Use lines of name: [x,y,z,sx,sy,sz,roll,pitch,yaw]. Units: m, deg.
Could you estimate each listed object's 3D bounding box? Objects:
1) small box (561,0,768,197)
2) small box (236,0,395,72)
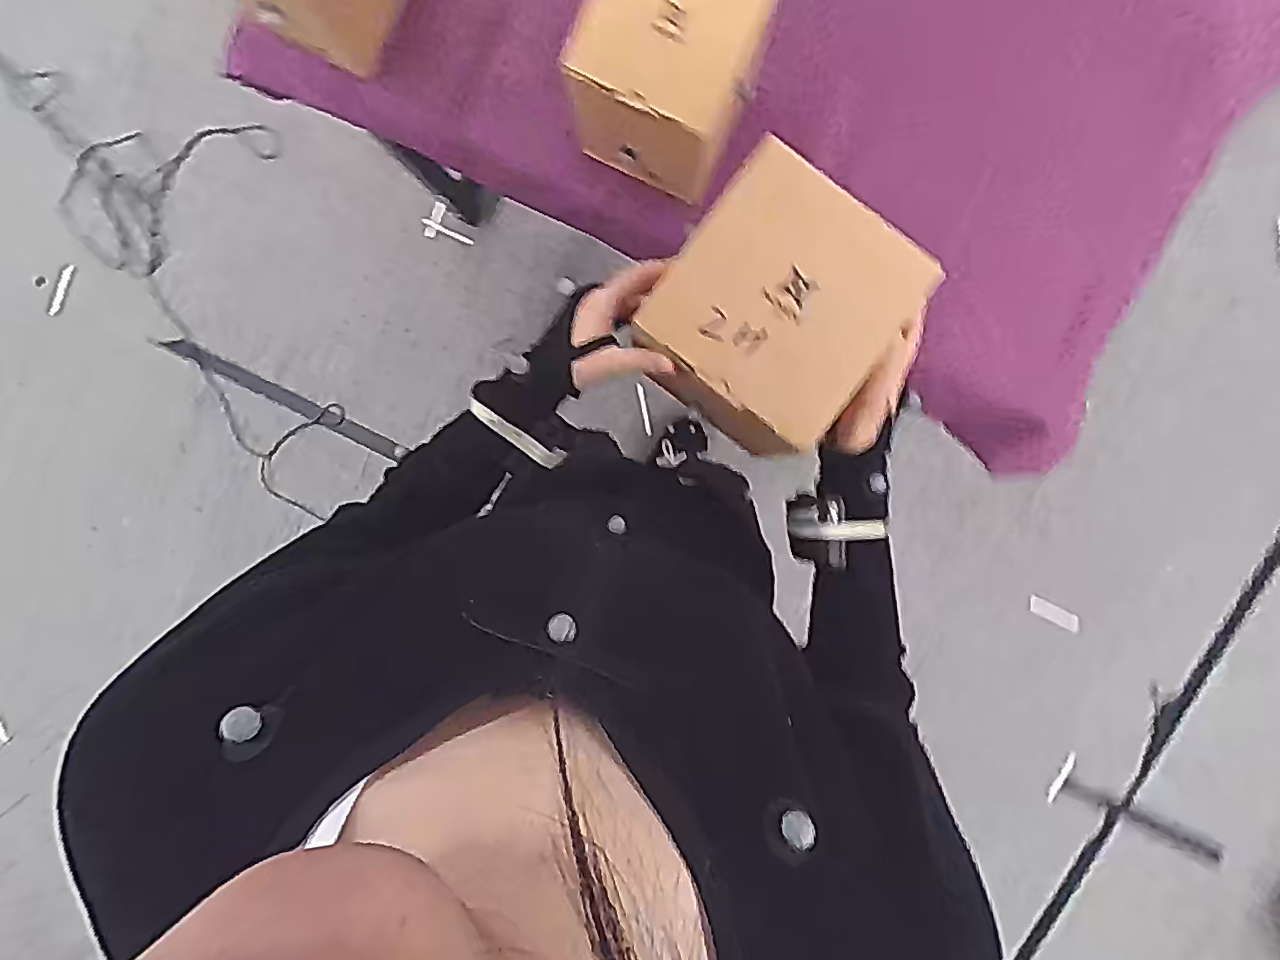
small box: [0.026,-0.471,0.623,0.168,0.176,0.179,24,96,-2]
small box: [-0.396,-0.623,0.613,0.168,0.176,0.179,26,97,-2]
